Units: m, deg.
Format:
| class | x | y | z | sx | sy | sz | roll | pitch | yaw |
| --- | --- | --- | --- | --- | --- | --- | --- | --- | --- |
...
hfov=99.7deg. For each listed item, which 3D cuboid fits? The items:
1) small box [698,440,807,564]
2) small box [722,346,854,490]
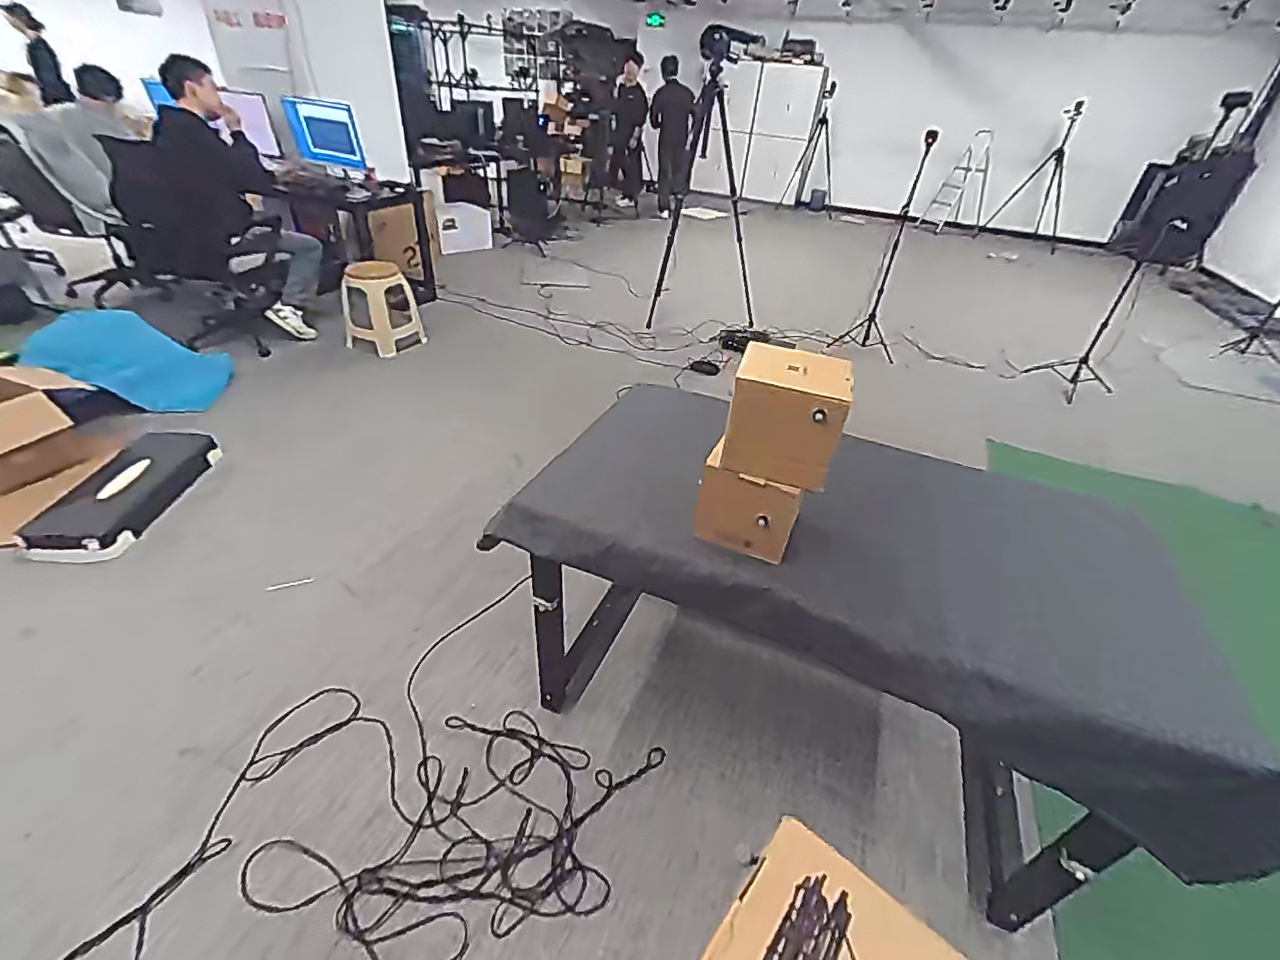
| class | x | y | z | sx | sy | sz | roll | pitch | yaw |
| --- | --- | --- | --- | --- | --- | --- | --- | --- | --- |
| small box | 0.215 | 0.025 | 0.998 | 0.168 | 0.176 | 0.179 | 19 | 36 | 17 |
| small box | 0.243 | -0.104 | 0.902 | 0.179 | 0.176 | 0.168 | 15 | 36 | 11 |
